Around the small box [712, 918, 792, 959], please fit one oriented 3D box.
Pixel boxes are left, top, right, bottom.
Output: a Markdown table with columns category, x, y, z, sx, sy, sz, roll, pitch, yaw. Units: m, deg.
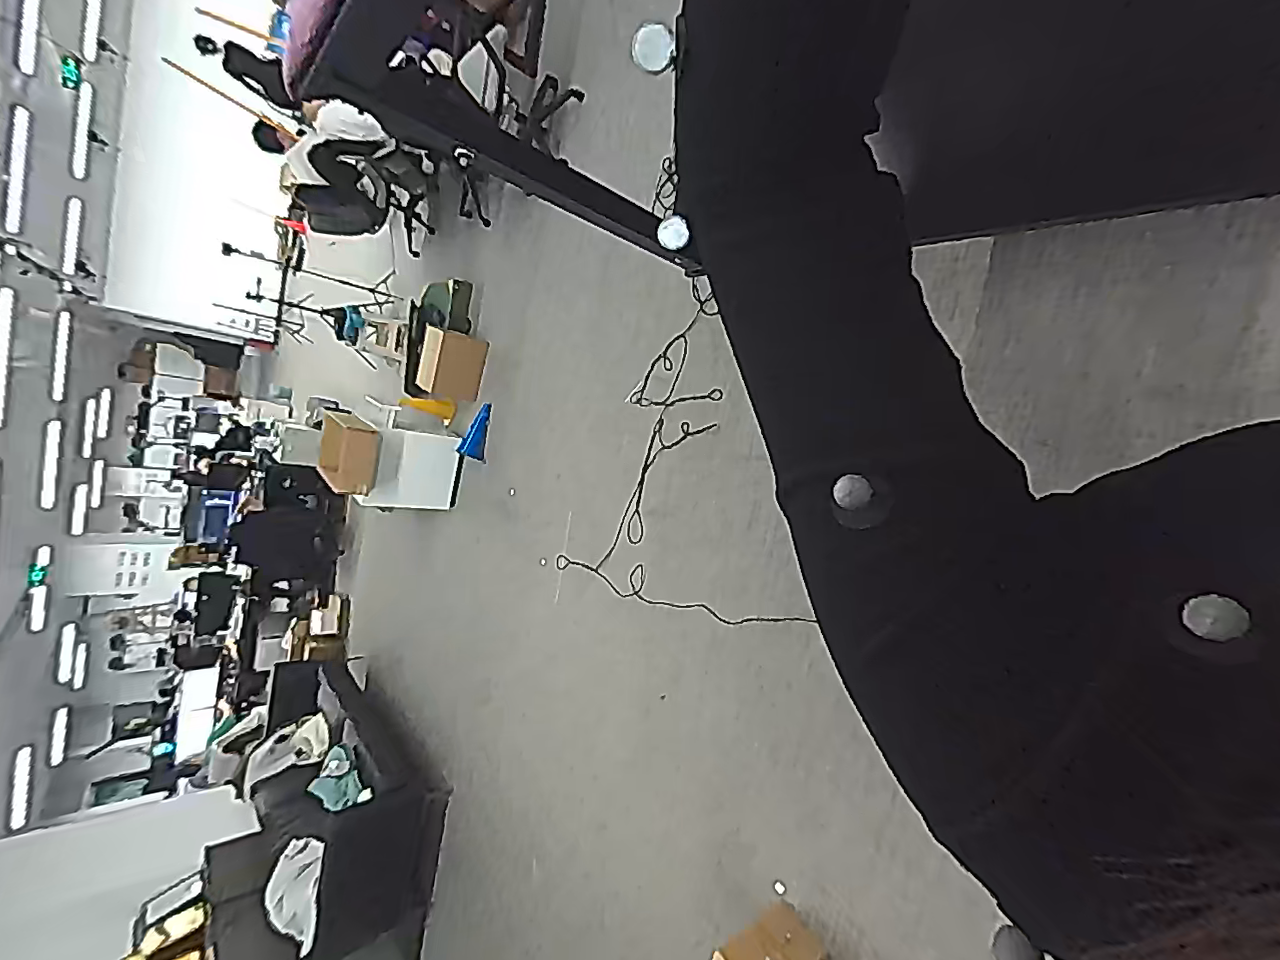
| category | x | y | z | sx | sy | sz | roll | pitch | yaw |
| --- | --- | --- | --- | --- | --- | --- | --- | --- | --- |
| small box | 0.303 | 1.375 | 1.486 | 0.168 | 0.176 | 0.179 | 28 | 106 | 47 |
